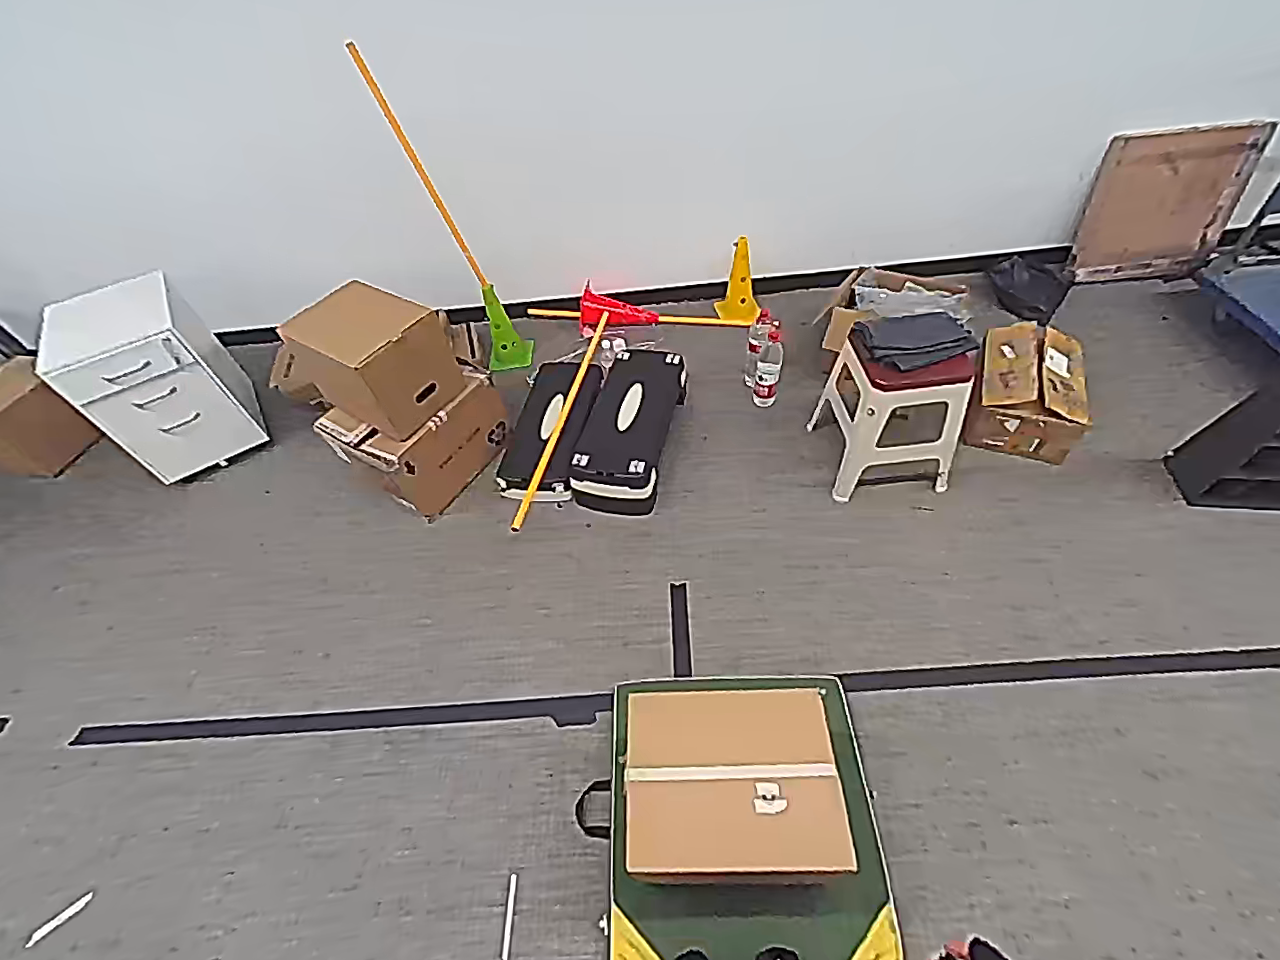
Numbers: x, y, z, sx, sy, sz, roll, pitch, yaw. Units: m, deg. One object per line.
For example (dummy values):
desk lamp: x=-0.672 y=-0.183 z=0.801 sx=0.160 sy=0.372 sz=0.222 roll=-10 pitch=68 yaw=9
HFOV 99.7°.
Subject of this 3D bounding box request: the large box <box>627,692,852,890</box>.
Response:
large box: x=0.184 y=0.674 z=1.166 sx=0.408 sy=0.320 sz=0.320 roll=-3 pitch=50 yaw=3
